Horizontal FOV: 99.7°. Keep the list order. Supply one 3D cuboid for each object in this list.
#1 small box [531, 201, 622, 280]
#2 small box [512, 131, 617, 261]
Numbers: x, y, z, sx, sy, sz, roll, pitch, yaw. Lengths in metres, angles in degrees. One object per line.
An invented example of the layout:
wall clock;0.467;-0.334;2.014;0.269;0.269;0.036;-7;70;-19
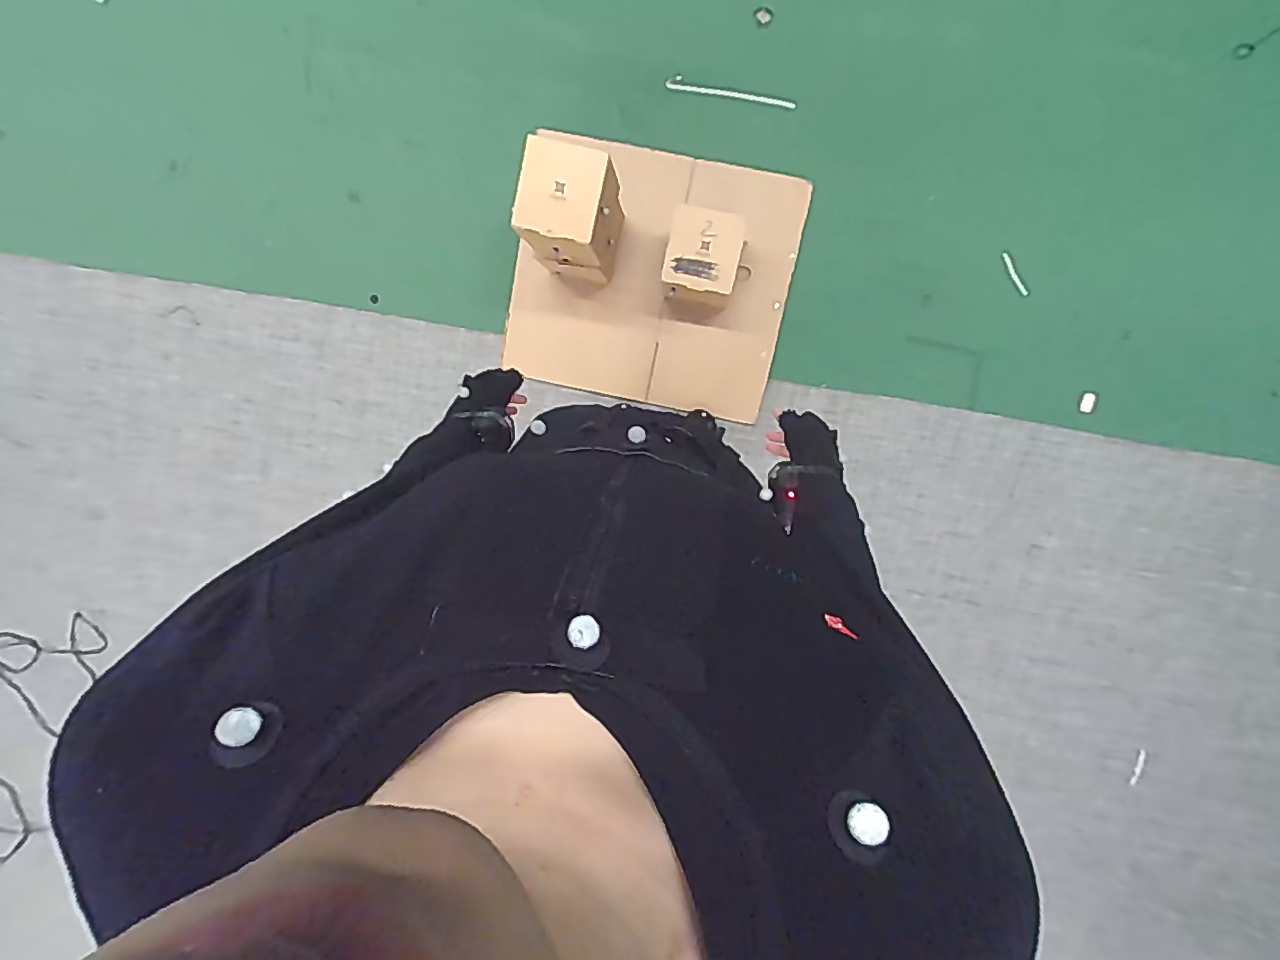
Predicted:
small box;-0.145;-0.593;1.288;0.168;0.176;0.179;14;99;3
small box;-0.149;-0.580;1.126;0.168;0.176;0.179;15;100;2
